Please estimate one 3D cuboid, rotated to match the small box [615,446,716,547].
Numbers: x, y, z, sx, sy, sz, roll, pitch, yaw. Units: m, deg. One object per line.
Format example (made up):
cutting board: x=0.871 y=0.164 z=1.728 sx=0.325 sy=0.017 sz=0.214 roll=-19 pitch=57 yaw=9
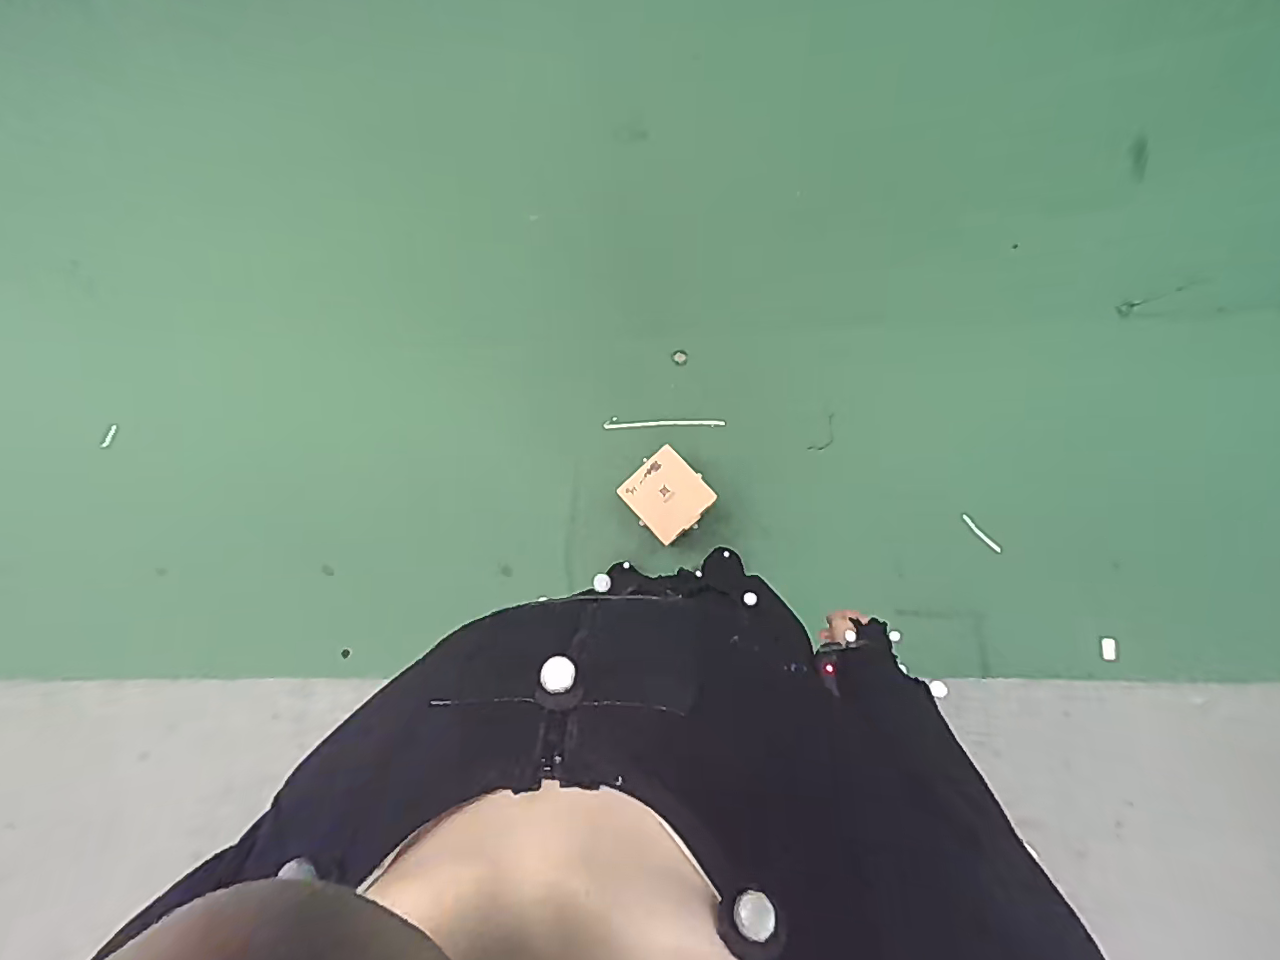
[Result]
small box: x=0.066 y=0.041 z=1.310 sx=0.168 sy=0.176 sz=0.179 roll=-43 pitch=83 yaw=0
